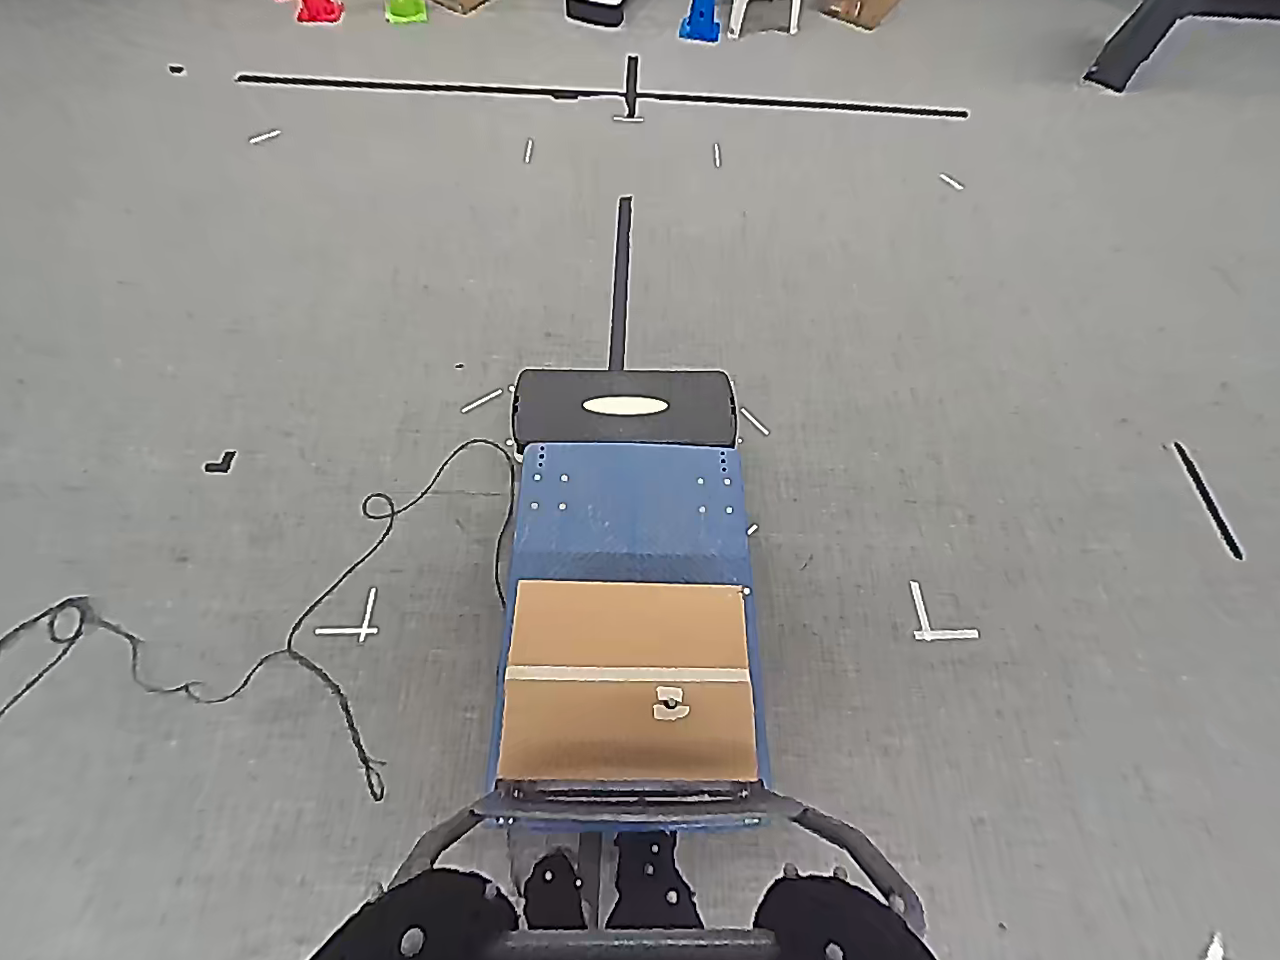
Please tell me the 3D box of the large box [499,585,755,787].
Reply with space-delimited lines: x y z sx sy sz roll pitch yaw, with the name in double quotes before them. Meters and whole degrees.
"large box" -0.030 0.396 1.026 0.408 0.320 0.320 2 63 -3
